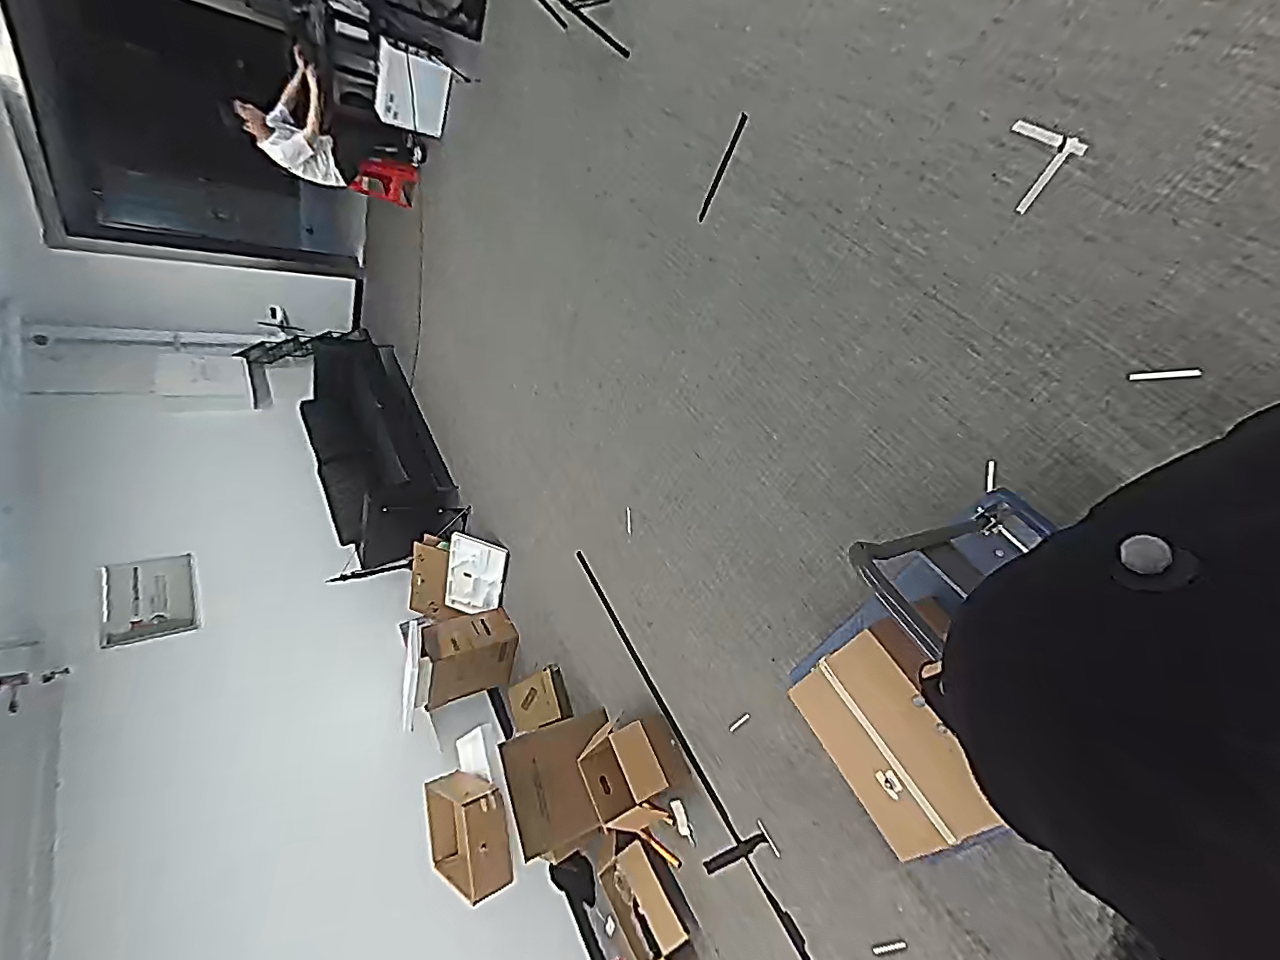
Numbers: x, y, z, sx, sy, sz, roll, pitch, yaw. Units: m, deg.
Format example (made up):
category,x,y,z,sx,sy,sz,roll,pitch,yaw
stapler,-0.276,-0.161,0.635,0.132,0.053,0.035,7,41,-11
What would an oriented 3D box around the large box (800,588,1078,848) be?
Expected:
category,x,y,z,sx,sy,sz,roll,pitch,yaw
large box,0.666,0.521,1.245,0.408,0.320,0.320,56,136,30
